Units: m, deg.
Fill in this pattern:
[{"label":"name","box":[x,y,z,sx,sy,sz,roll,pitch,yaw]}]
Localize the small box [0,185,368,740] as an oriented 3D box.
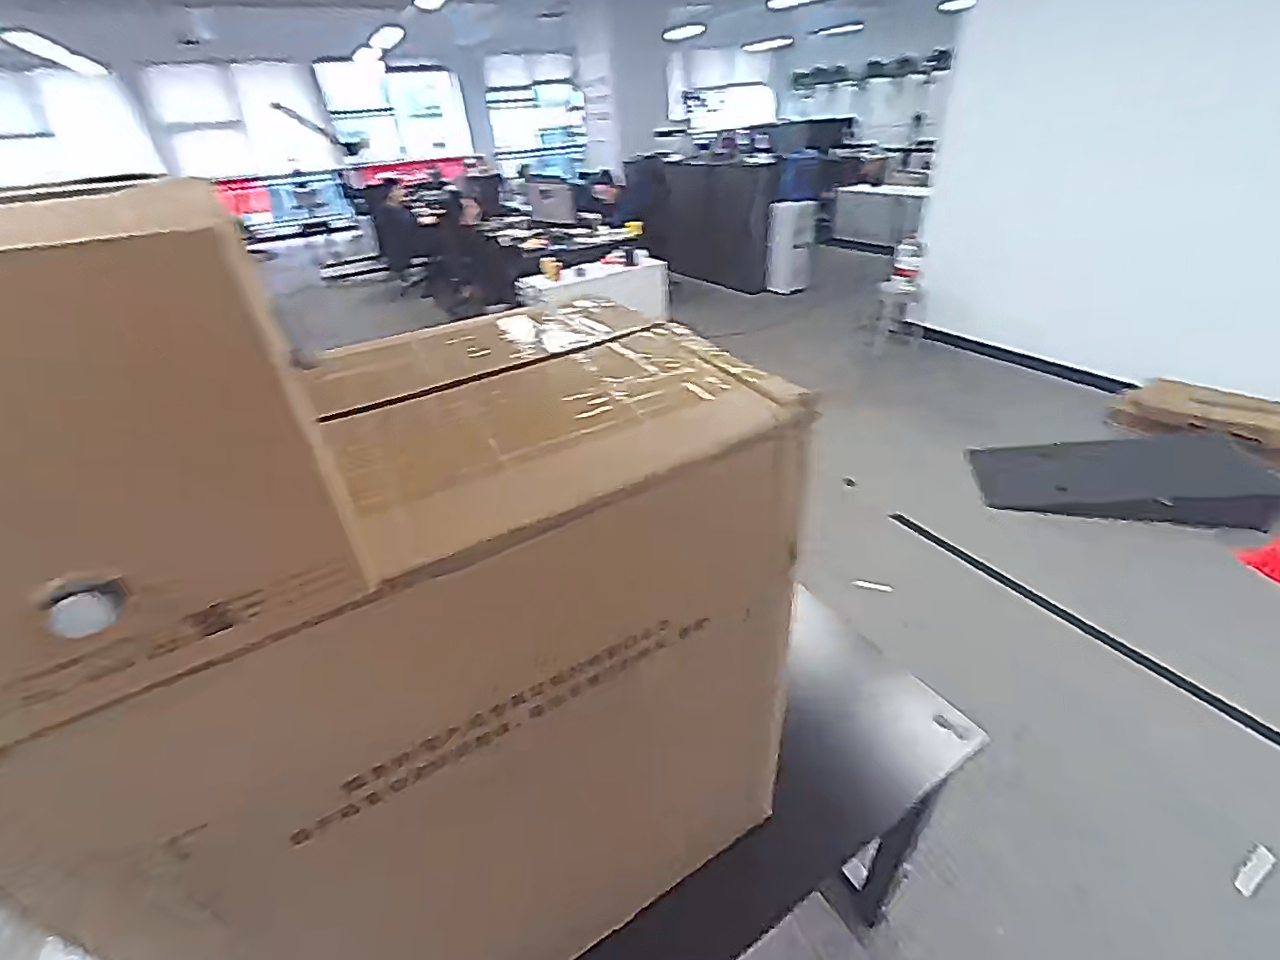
[{"label":"small box","box":[-0.246,-0.025,0.242,0.168,0.176,0.179,-22,40,-26]}]
